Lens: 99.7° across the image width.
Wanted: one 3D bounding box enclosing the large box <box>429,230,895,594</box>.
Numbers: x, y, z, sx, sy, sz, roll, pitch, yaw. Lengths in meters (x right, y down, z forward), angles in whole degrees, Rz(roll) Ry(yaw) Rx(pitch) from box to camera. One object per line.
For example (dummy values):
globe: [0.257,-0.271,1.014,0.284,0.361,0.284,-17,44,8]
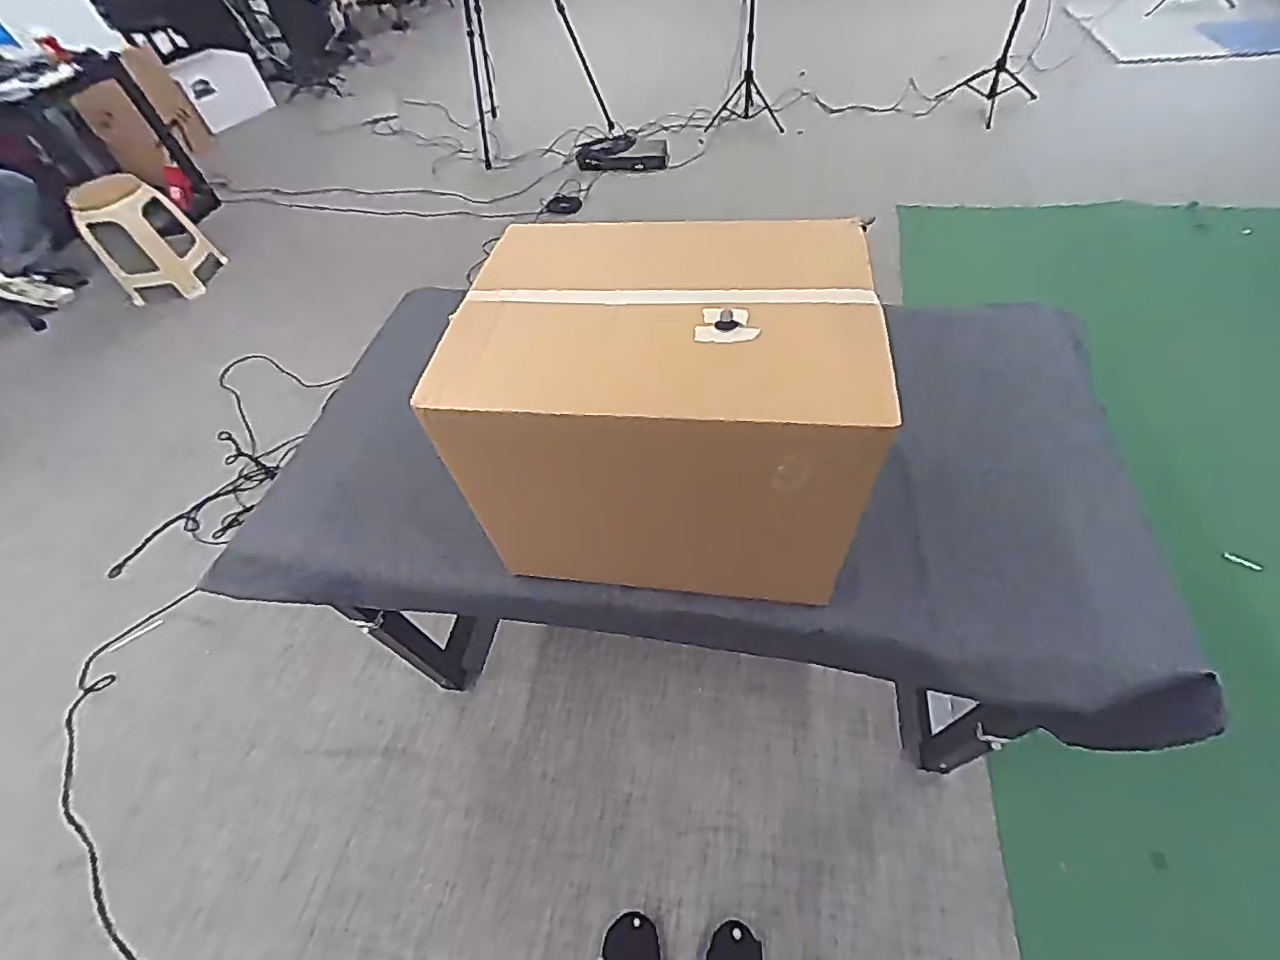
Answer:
large box: [0.035,-0.079,0.657,0.408,0.320,0.320,4,53,9]
